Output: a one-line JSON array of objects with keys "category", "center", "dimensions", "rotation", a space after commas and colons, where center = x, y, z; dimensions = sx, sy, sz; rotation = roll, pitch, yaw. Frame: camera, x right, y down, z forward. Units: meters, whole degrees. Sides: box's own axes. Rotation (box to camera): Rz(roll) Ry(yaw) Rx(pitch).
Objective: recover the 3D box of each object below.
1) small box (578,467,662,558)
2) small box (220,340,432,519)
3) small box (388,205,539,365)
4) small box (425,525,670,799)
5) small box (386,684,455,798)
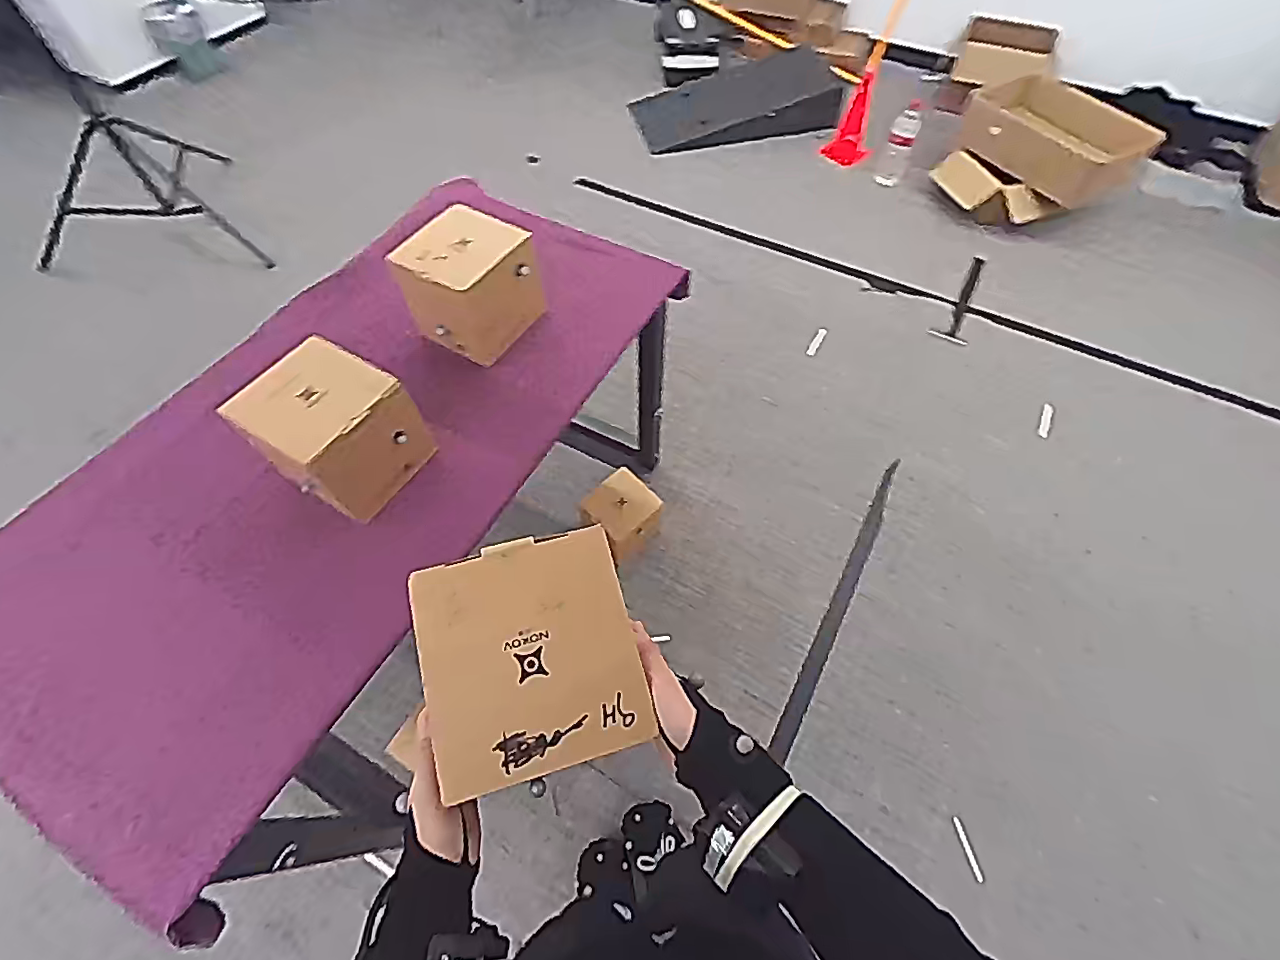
[{"category": "small box", "center": [-0.056, 0.103, 1.543], "dimensions": [0.179, 0.176, 0.168], "rotation": [-40, 68, -20]}, {"category": "small box", "center": [-0.441, -0.066, 0.793], "dimensions": [0.179, 0.176, 0.168], "rotation": [26, 62, 17]}, {"category": "small box", "center": [-0.295, -0.340, 0.954], "dimensions": [0.168, 0.176, 0.179], "rotation": [27, 63, 16]}, {"category": "small box", "center": [-0.082, 0.163, 0.498], "dimensions": [0.168, 0.176, 0.179], "rotation": [-14, 70, -9]}, {"category": "small box", "center": [-0.433, 0.601, 1.244], "dimensions": [0.179, 0.176, 0.168], "rotation": [26, 63, 16]}]
